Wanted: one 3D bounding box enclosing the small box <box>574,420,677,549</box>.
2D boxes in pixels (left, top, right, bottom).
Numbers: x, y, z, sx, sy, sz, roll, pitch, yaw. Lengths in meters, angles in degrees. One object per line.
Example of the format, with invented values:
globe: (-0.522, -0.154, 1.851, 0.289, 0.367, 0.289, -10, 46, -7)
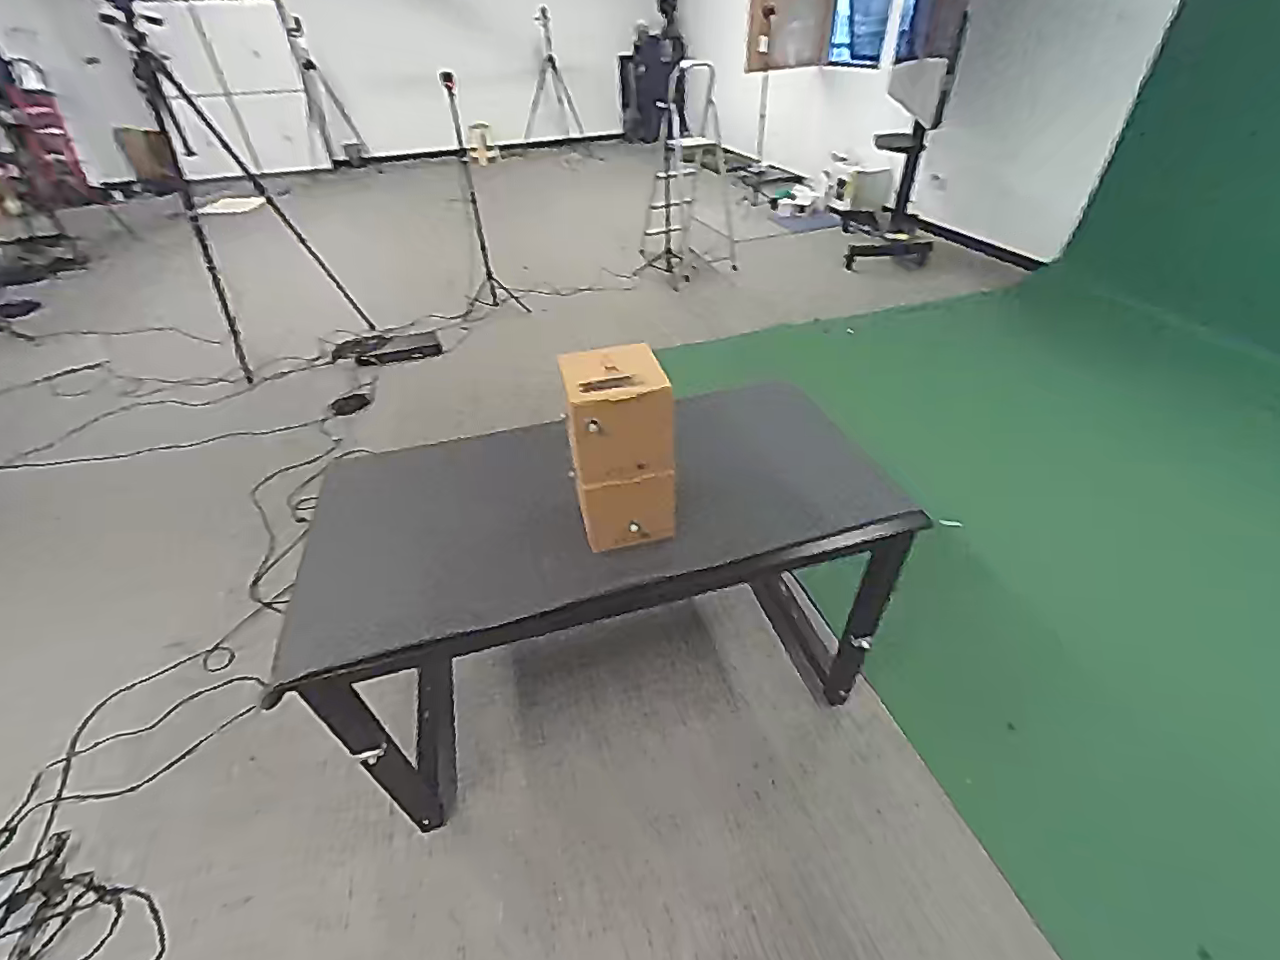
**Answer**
small box: (-0.030, 0.007, 1.059, 0.168, 0.176, 0.179, -12, 40, -9)
